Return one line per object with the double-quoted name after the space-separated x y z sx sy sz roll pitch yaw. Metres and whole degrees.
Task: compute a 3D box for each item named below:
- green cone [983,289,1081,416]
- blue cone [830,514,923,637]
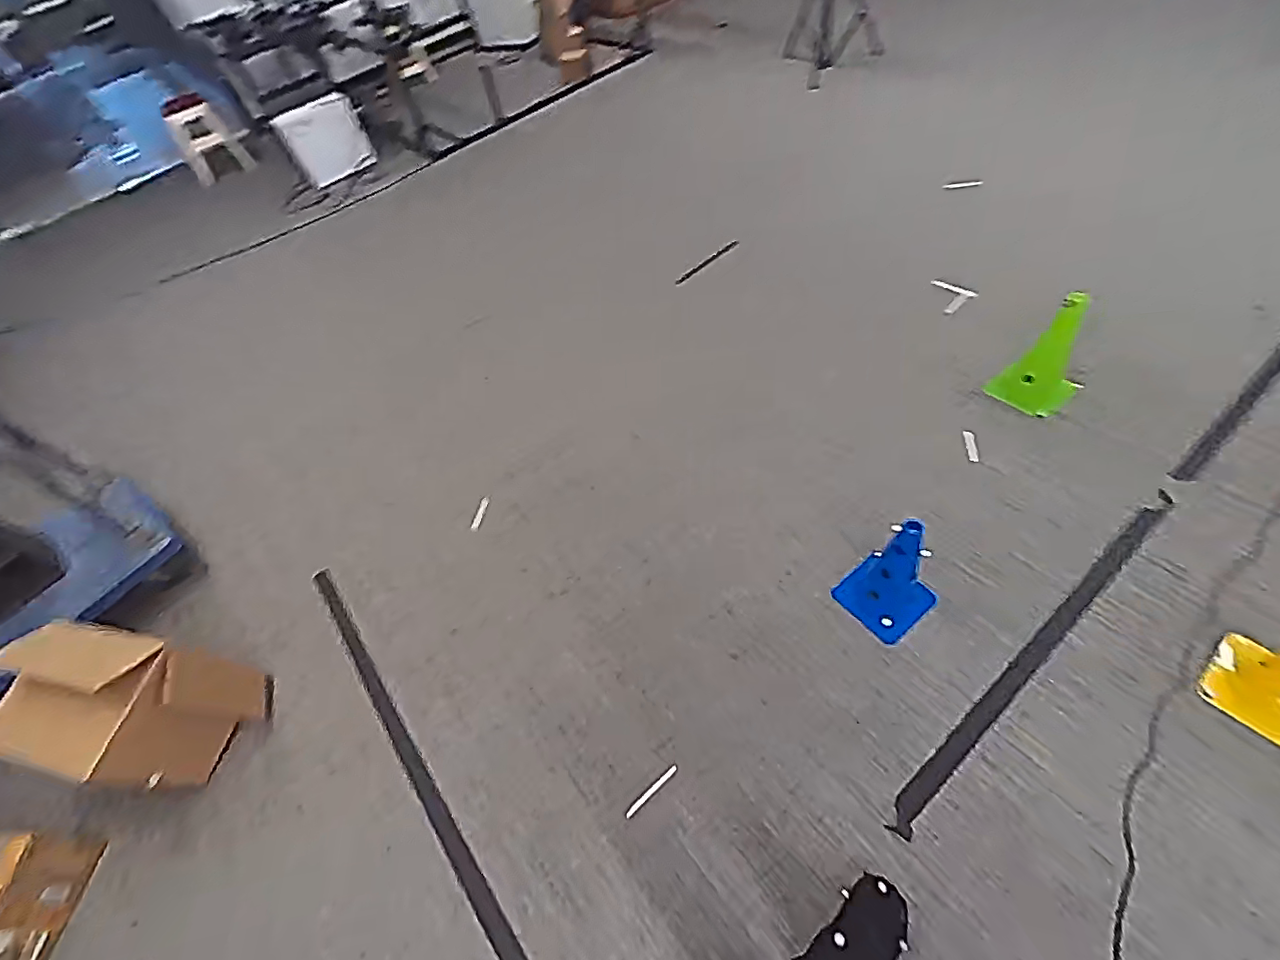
1.219 -0.403 1.611 0.200 0.368 0.202 -38 54 -16 "green cone"
0.600 0.206 1.309 0.193 0.380 0.192 -34 53 -14 "blue cone"
